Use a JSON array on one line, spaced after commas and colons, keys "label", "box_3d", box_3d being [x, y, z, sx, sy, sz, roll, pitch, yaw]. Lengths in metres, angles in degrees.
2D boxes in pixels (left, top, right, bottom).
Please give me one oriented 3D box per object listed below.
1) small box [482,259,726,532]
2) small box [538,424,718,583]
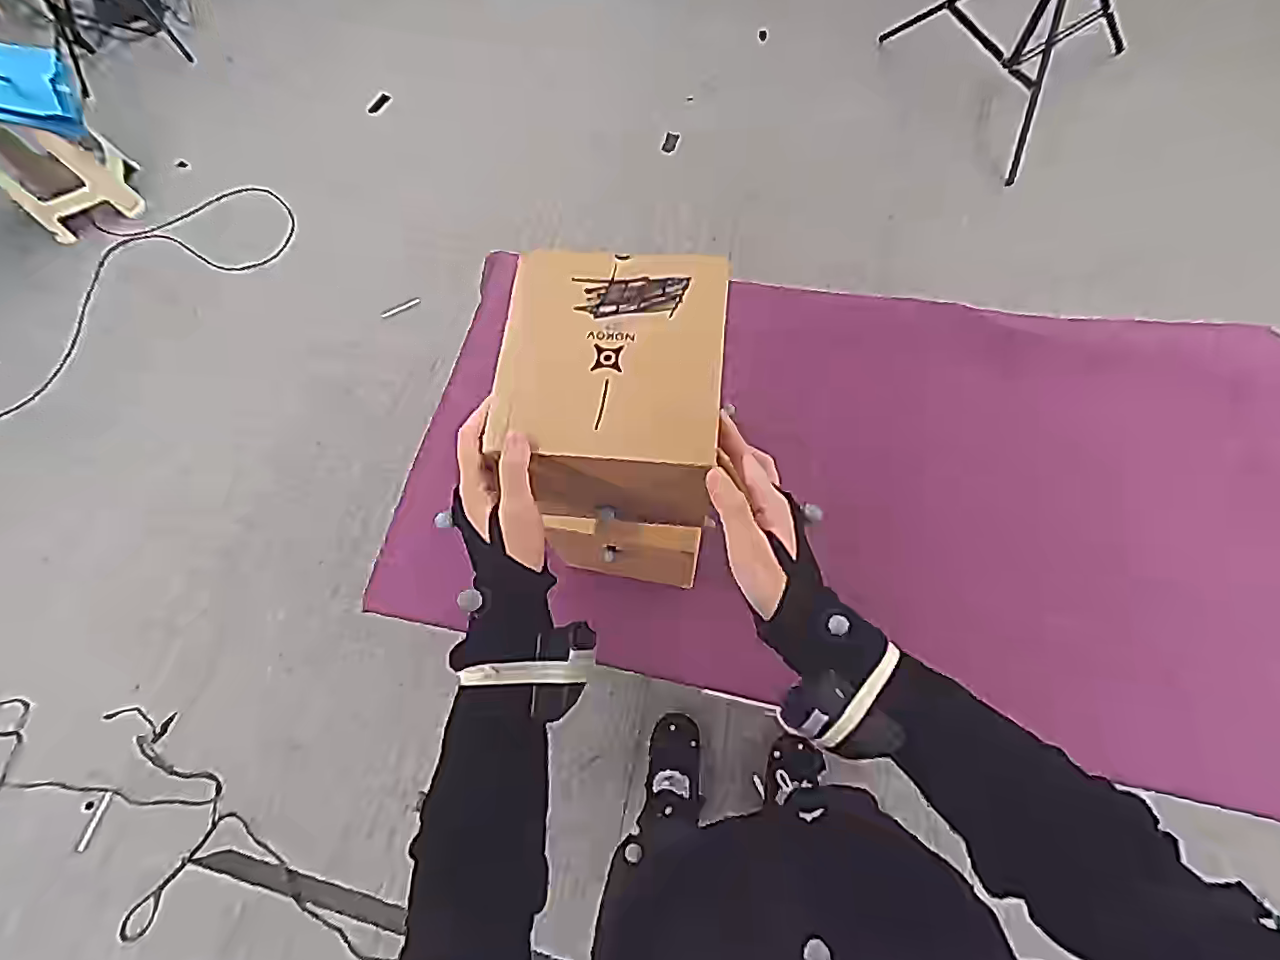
[{"label": "small box", "box_3d": [-0.019, -0.065, 0.479, 0.168, 0.176, 0.179, 5, 71, 6]}, {"label": "small box", "box_3d": [-0.005, 0.023, 0.678, 0.179, 0.176, 0.168, 9, 68, 9]}]
